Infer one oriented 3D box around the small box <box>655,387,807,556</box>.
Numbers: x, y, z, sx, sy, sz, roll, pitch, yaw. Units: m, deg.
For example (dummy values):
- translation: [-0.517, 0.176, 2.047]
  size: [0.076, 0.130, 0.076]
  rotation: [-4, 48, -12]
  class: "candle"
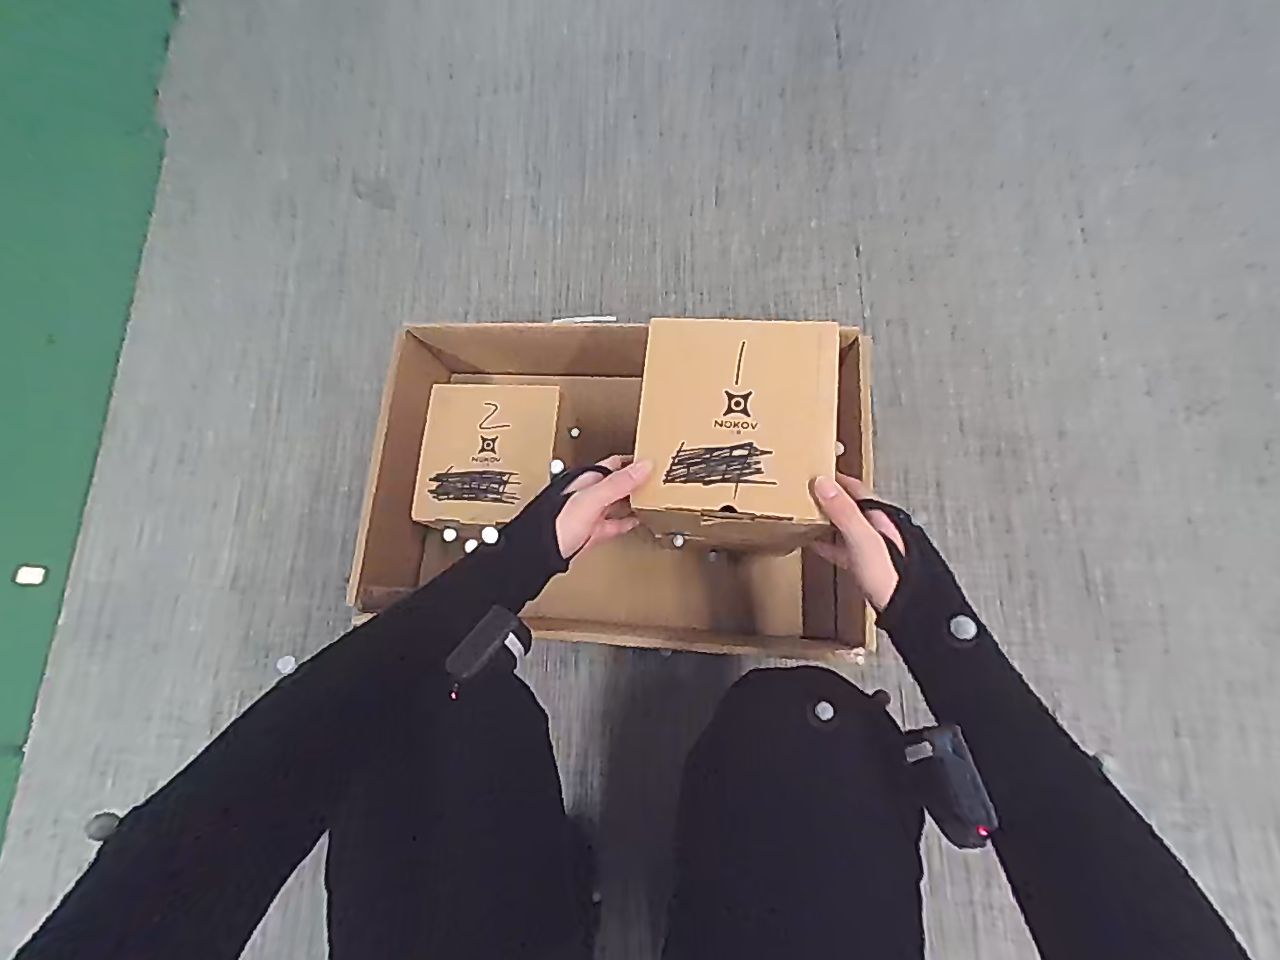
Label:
- translation: [0.113, -0.003, 0.685]
  size: [0.168, 0.176, 0.179]
  rotation: [2, 77, 8]
  class: "small box"
